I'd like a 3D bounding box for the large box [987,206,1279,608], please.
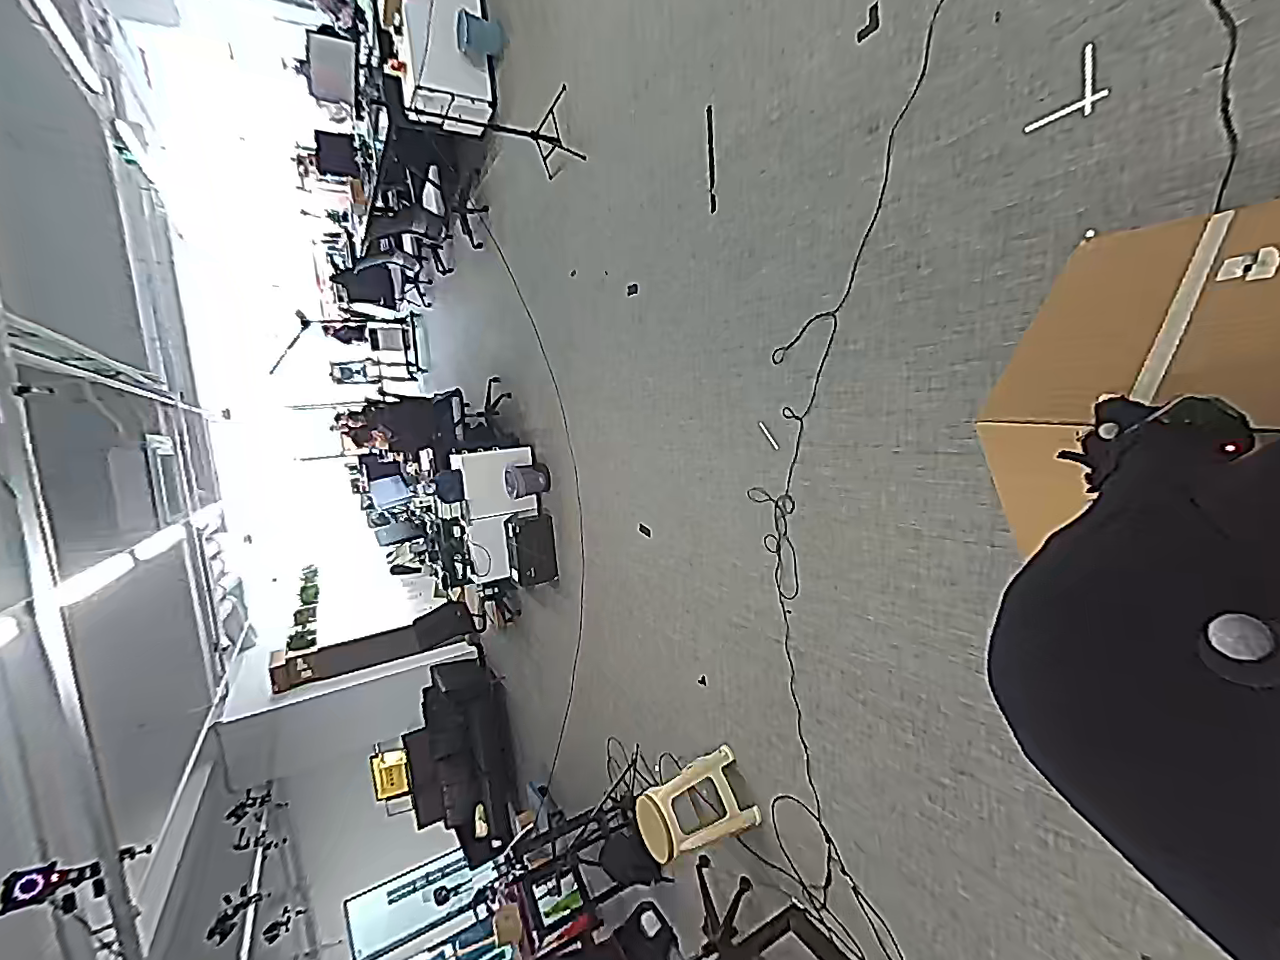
[{"bbox_3d":[0.738,-0.099,0.723,0.320,0.408,0.320,14,148,53],"label":"large box"}]
